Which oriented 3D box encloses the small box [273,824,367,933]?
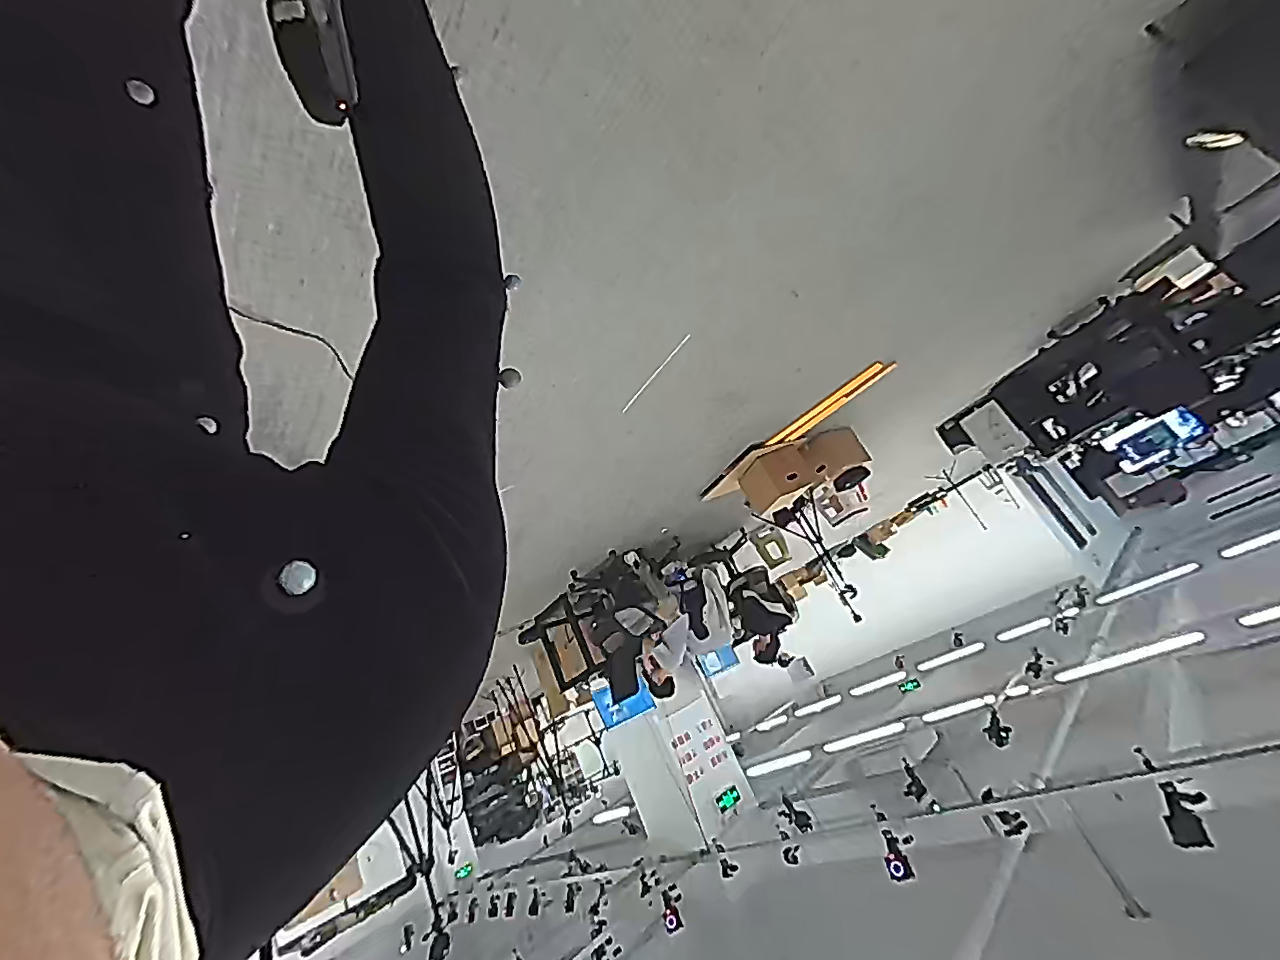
[{"bbox_3d":[-0.825,1.015,1.386,0.168,0.176,0.179,-7,153,-43],"label":"small box"}]
